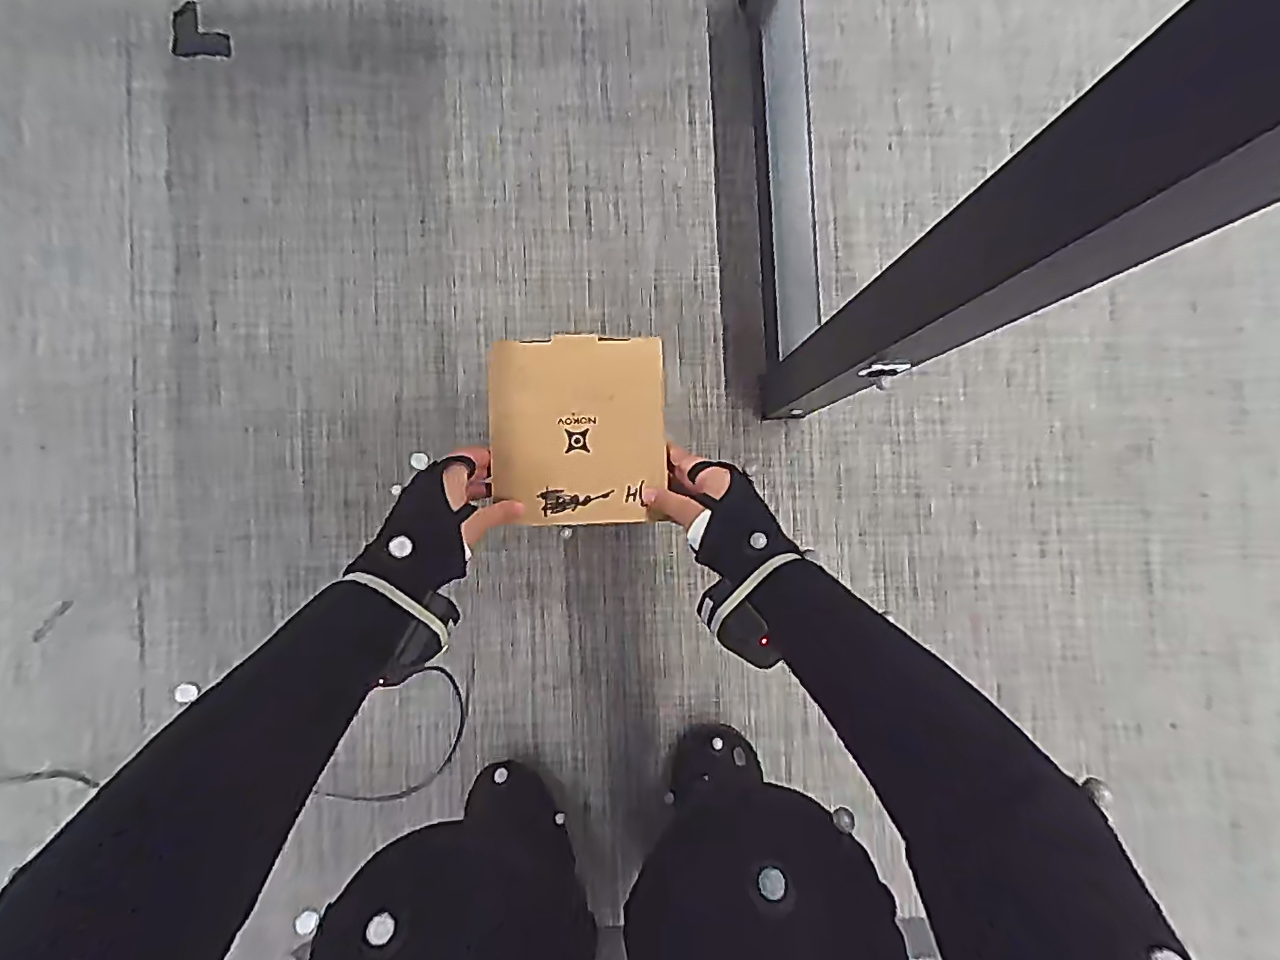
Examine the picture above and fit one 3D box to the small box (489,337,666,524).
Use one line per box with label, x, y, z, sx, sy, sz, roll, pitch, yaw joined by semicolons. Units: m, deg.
small box;-0.062;-0.044;0.589;0.168;0.176;0.179;-3;88;-1
